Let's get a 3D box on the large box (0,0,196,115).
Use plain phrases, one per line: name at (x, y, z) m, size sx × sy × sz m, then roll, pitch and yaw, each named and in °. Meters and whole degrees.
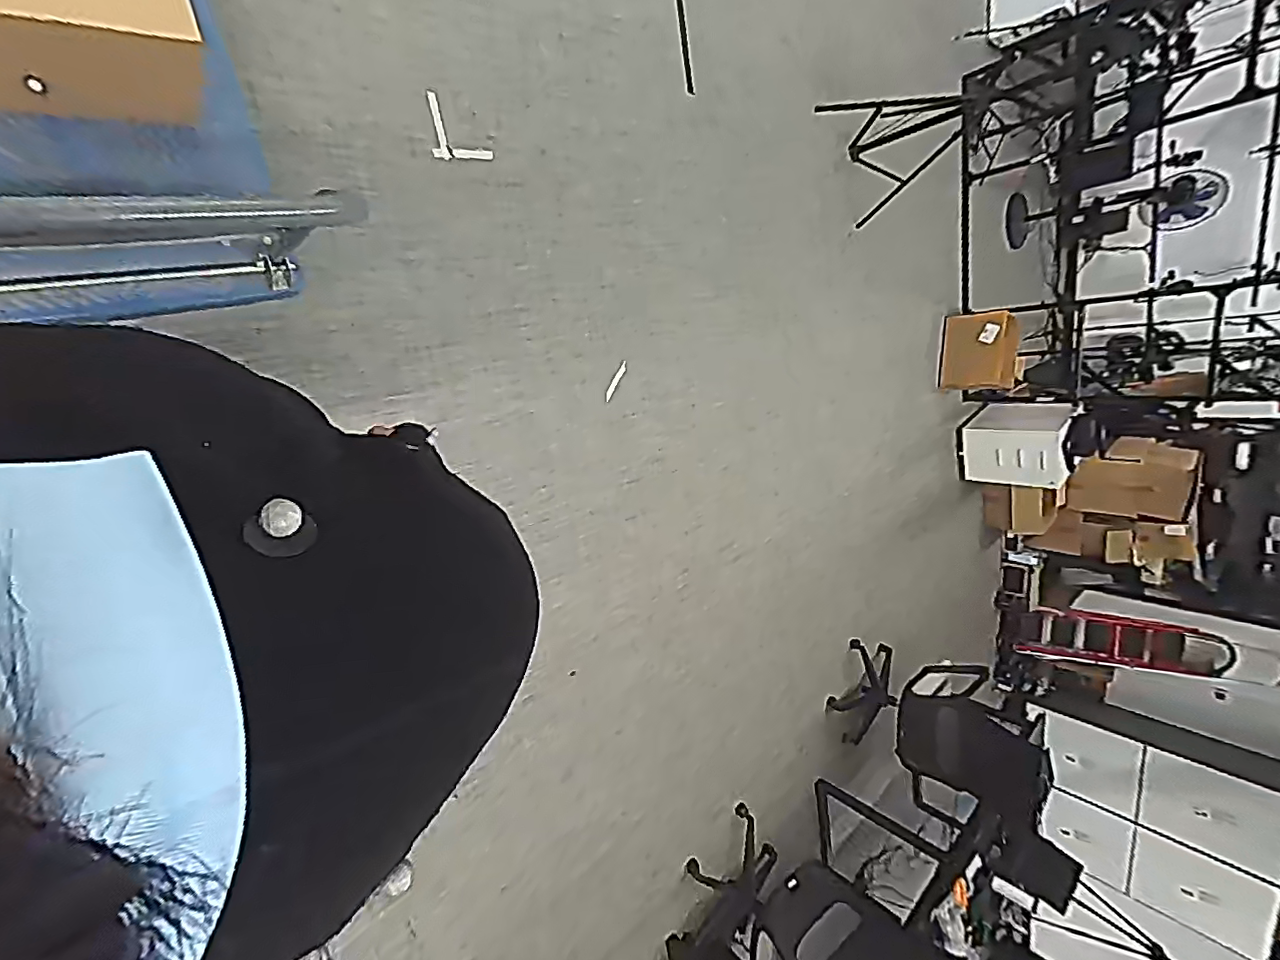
large box at (-0.903, -0.733, 0.727) m, size 0.408 × 0.320 × 0.320 m, roll -21°, pitch 108°, yaw -35°
